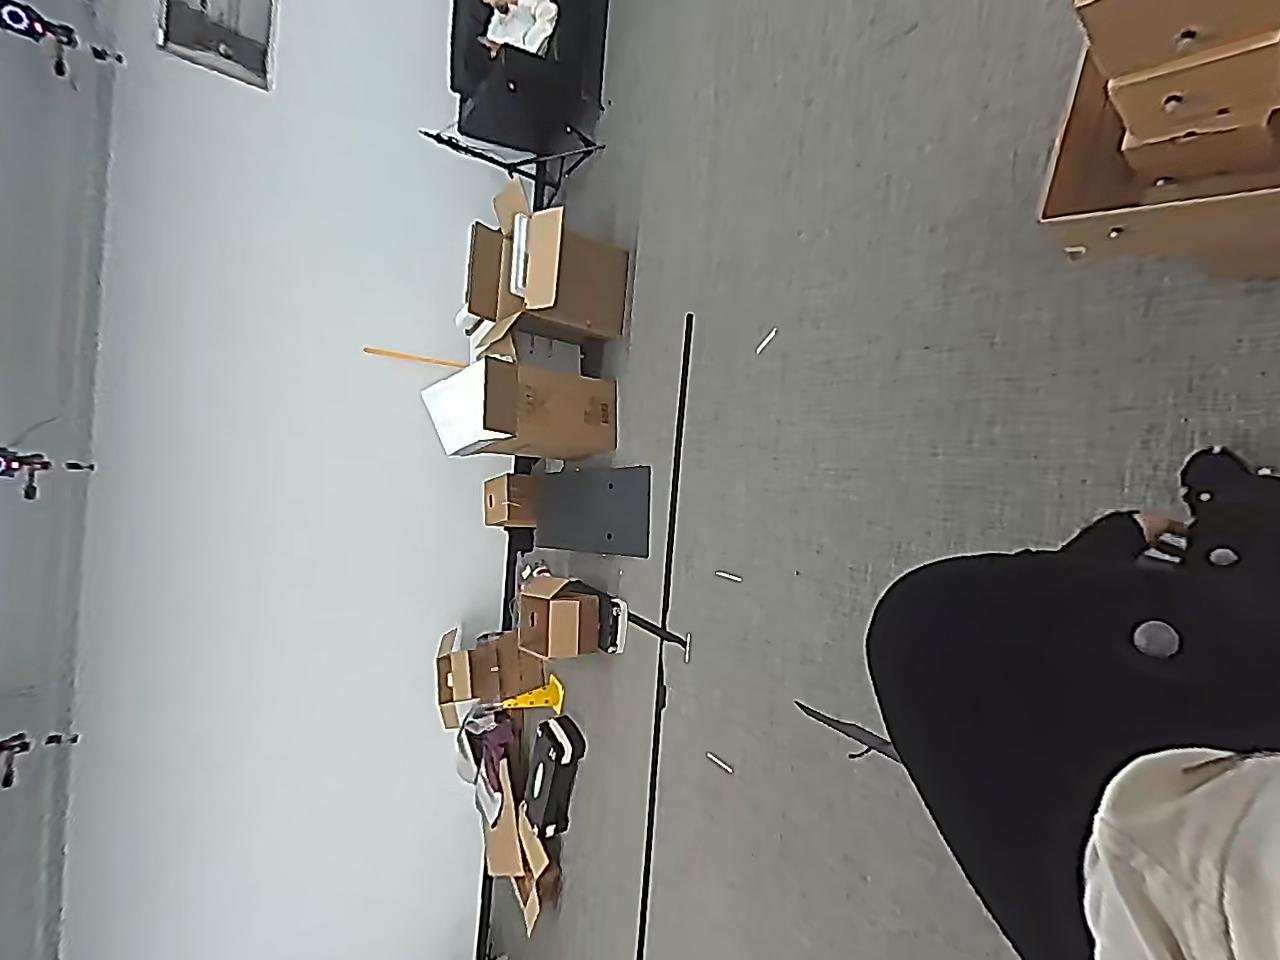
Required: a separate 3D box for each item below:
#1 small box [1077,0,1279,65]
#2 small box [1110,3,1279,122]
[{"bbox_3d":[0.657,-0.641,0.631,0.179,0.176,0.168,18,100,51],"label":"small box"},{"bbox_3d":[0.785,-0.621,0.732,0.168,0.176,0.179,20,102,51],"label":"small box"}]
